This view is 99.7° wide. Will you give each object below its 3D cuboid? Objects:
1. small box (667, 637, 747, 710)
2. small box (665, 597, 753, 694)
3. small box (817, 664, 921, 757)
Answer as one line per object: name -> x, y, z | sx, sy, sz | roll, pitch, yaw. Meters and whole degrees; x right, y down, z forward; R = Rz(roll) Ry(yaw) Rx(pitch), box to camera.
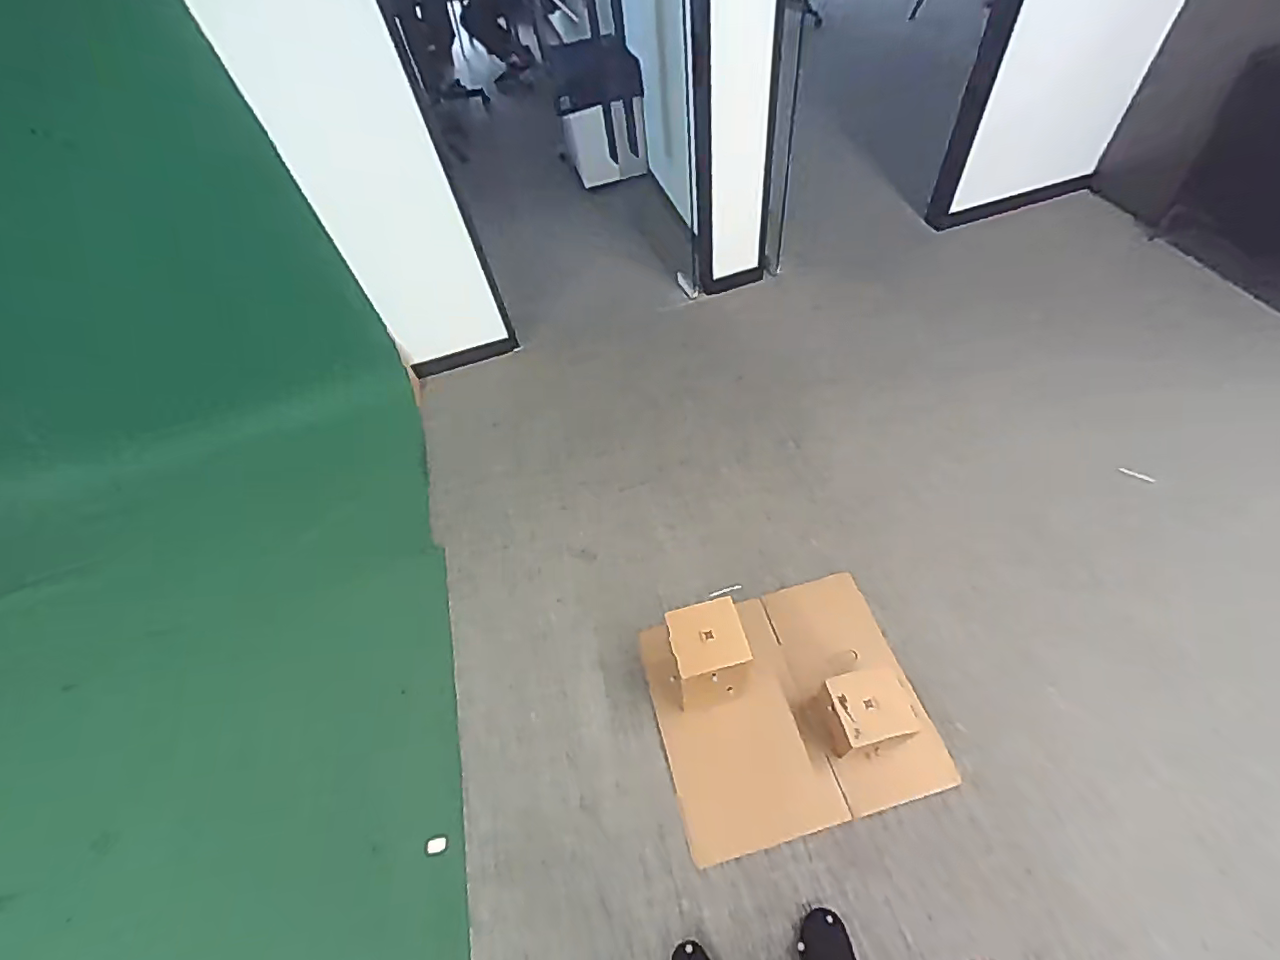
small box -> 0.180, 0.513, 1.484 | 0.179, 0.176, 0.168 | -15, 54, -2
small box -> 0.168, 0.418, 1.354 | 0.179, 0.176, 0.168 | -15, 55, -2
small box -> 0.572, 0.591, 1.378 | 0.179, 0.176, 0.168 | -13, 54, -1
